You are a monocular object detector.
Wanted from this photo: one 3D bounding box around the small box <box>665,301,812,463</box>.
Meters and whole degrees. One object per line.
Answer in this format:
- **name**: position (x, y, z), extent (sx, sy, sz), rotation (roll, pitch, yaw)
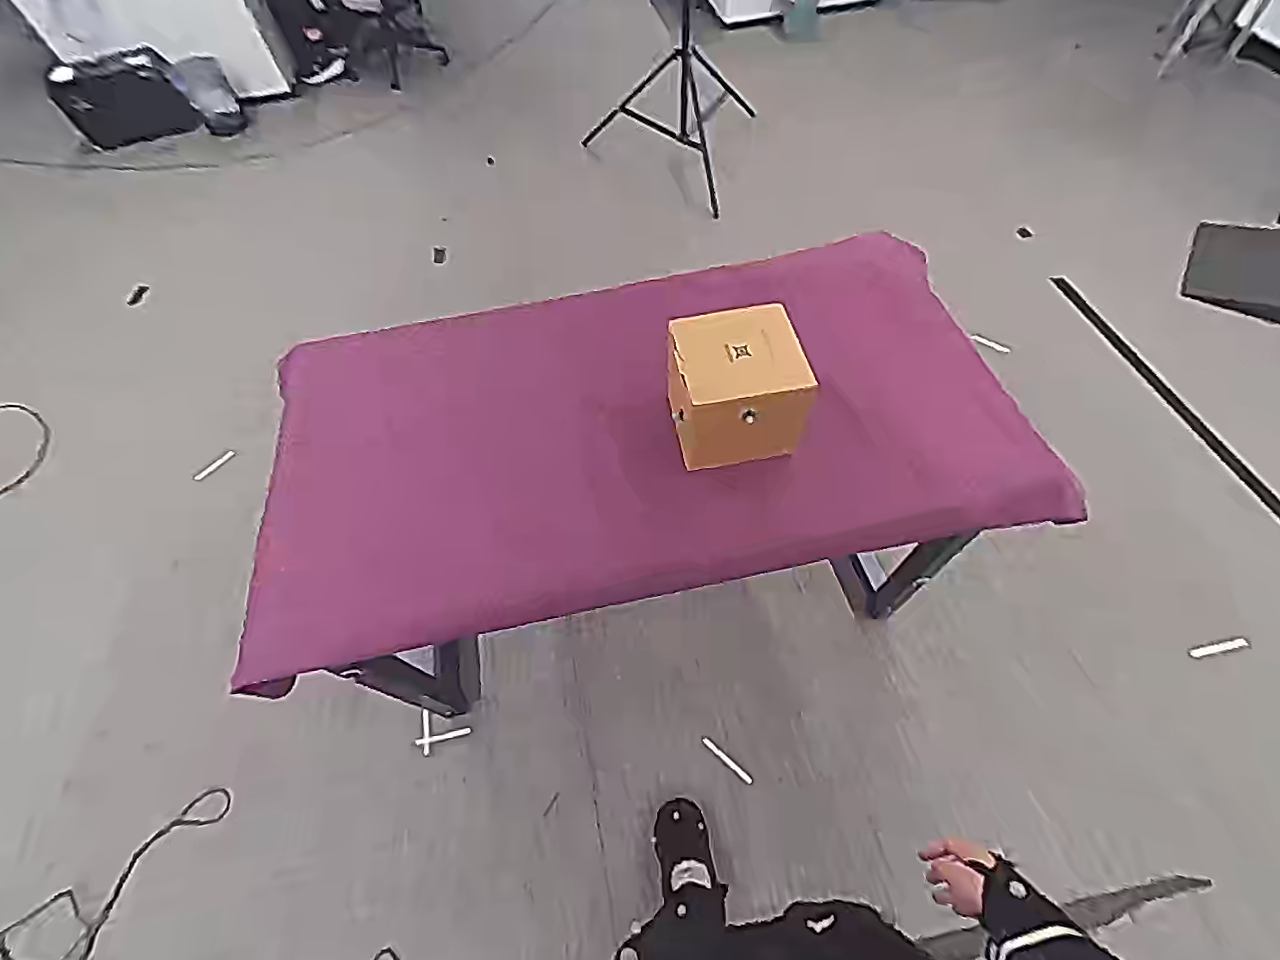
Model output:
- **small box**: position (0.140, -0.142, 0.829), extent (0.179, 0.176, 0.168), rotation (-10, 60, -3)
